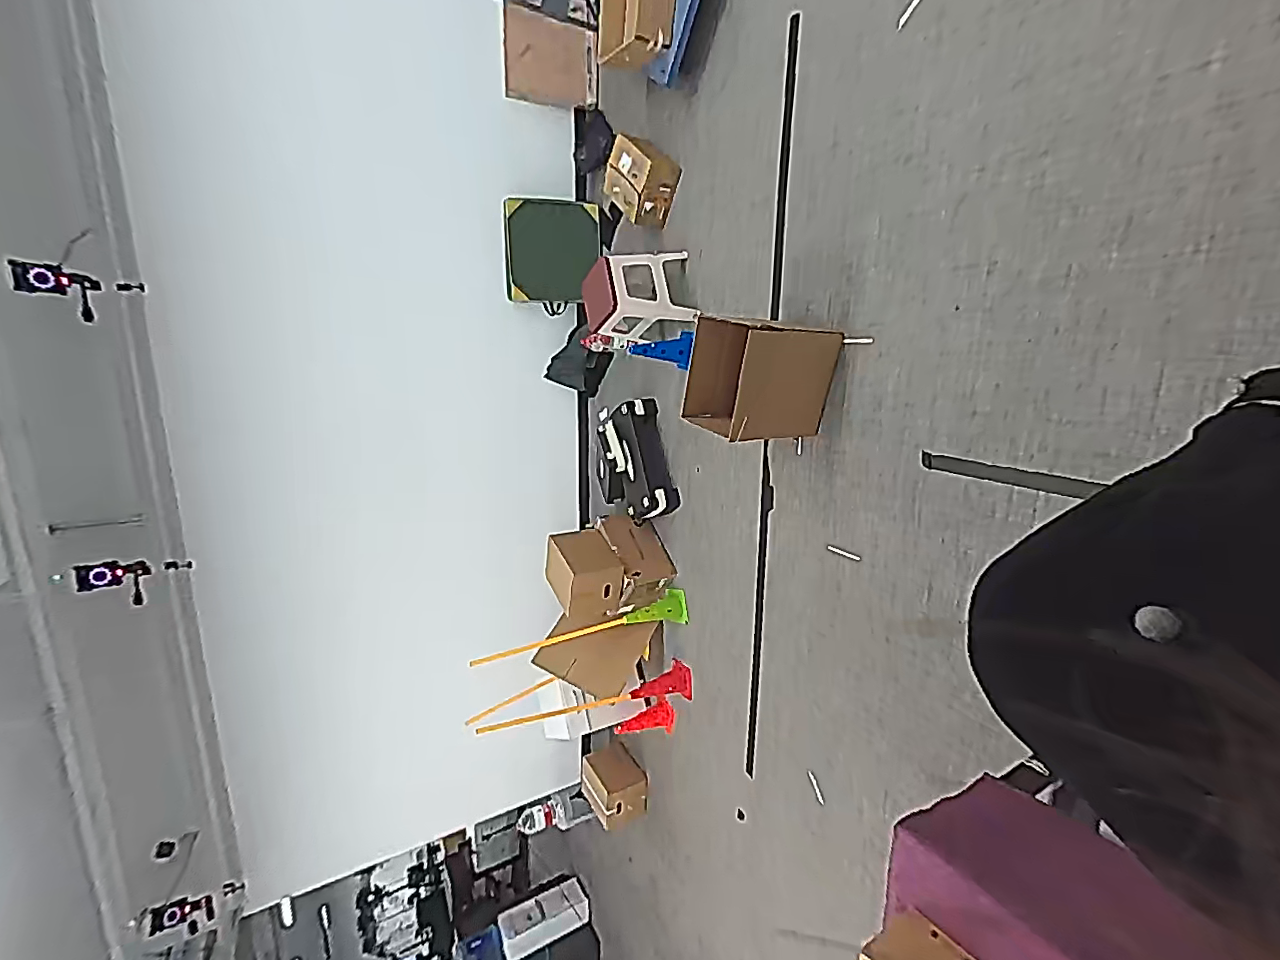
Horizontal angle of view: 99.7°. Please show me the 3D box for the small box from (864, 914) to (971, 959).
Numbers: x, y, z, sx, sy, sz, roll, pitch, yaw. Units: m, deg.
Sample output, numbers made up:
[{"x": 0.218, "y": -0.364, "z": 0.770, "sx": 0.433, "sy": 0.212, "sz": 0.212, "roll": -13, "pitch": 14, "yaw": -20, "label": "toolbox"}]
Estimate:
[{"x": 0.542, "y": 0.982, "z": 1.016, "sx": 0.168, "sy": 0.176, "sz": 0.179, "roll": 12, "pitch": 107, "yaw": 59, "label": "small box"}]
